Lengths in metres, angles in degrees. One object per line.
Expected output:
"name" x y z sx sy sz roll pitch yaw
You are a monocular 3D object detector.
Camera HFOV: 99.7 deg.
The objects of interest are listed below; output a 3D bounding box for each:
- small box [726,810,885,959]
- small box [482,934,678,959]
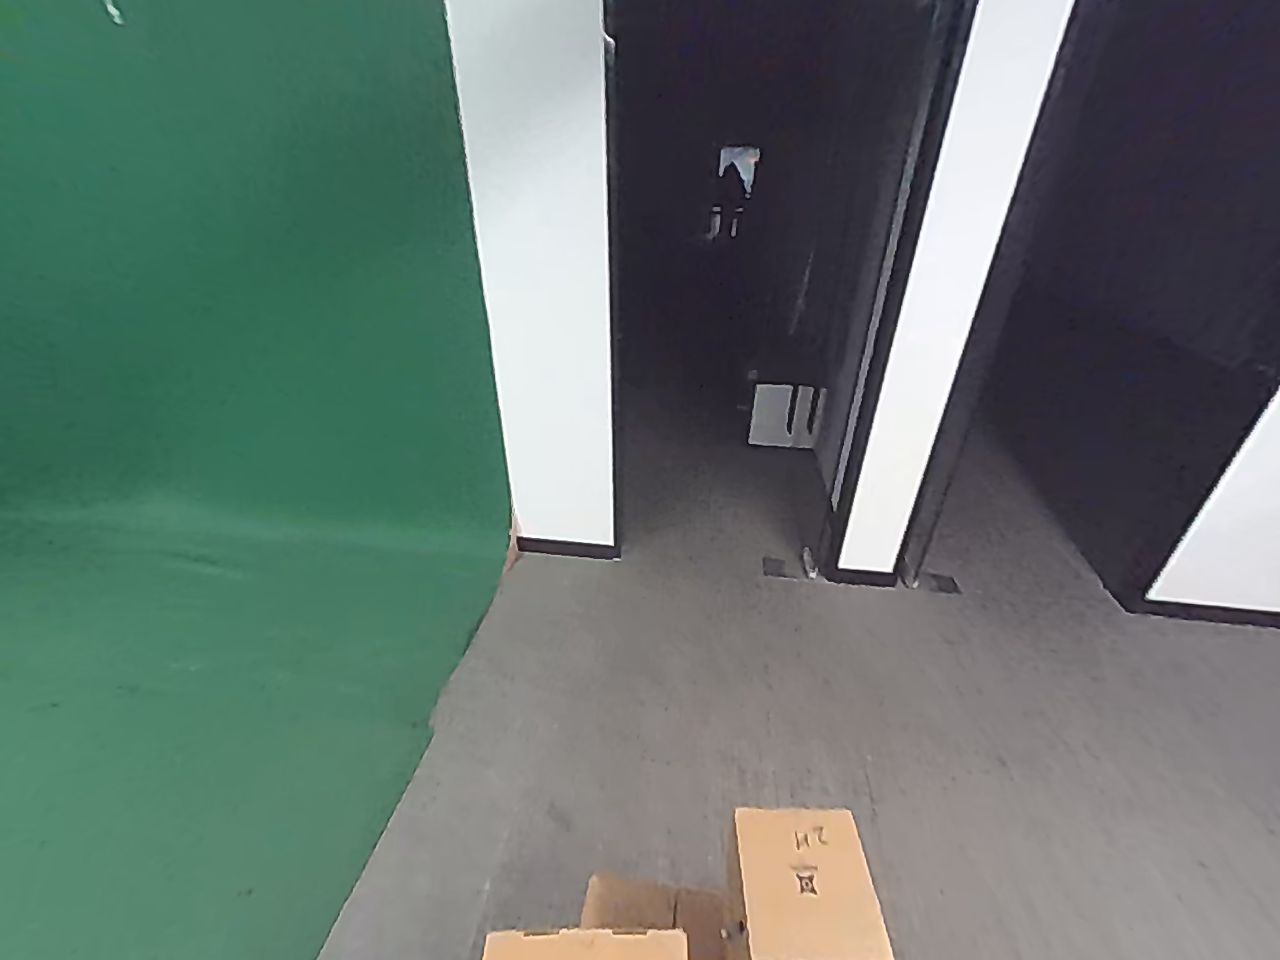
"small box" 0.209 0.585 0.734 0.168 0.176 0.179 1 30 3
"small box" -0.047 0.500 0.441 0.168 0.176 0.179 -1 39 1
